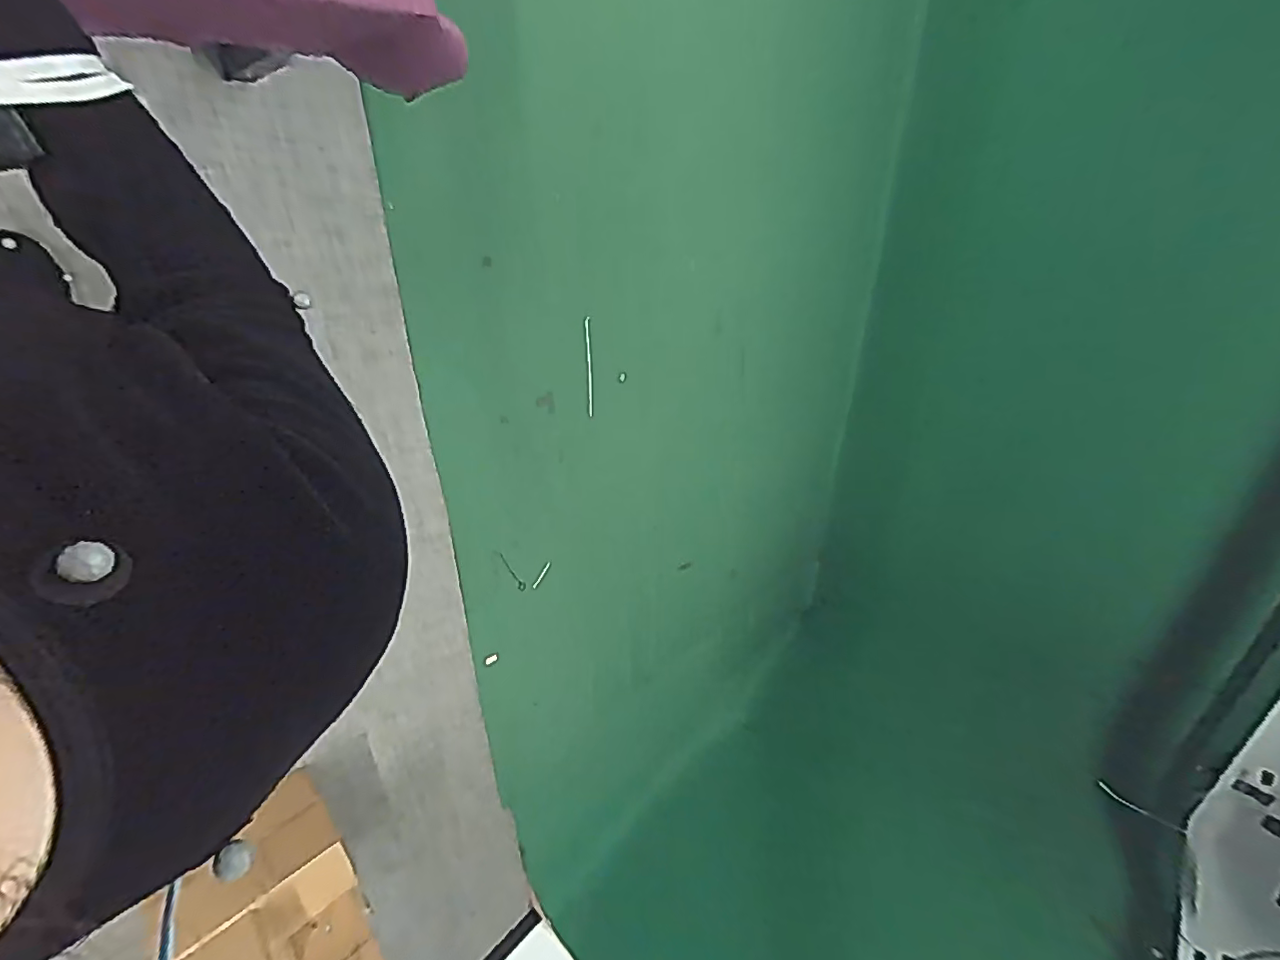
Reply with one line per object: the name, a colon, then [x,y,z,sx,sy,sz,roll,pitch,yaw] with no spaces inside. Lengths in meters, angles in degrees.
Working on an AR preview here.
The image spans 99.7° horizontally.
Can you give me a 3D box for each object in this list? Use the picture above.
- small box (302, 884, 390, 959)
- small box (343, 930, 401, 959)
small box: [-0.831,1.315,1.546,0.168,0.176,0.179,-27,131,-41]
small box: [-0.715,1.364,1.438,0.168,0.176,0.179,-25,129,-42]
